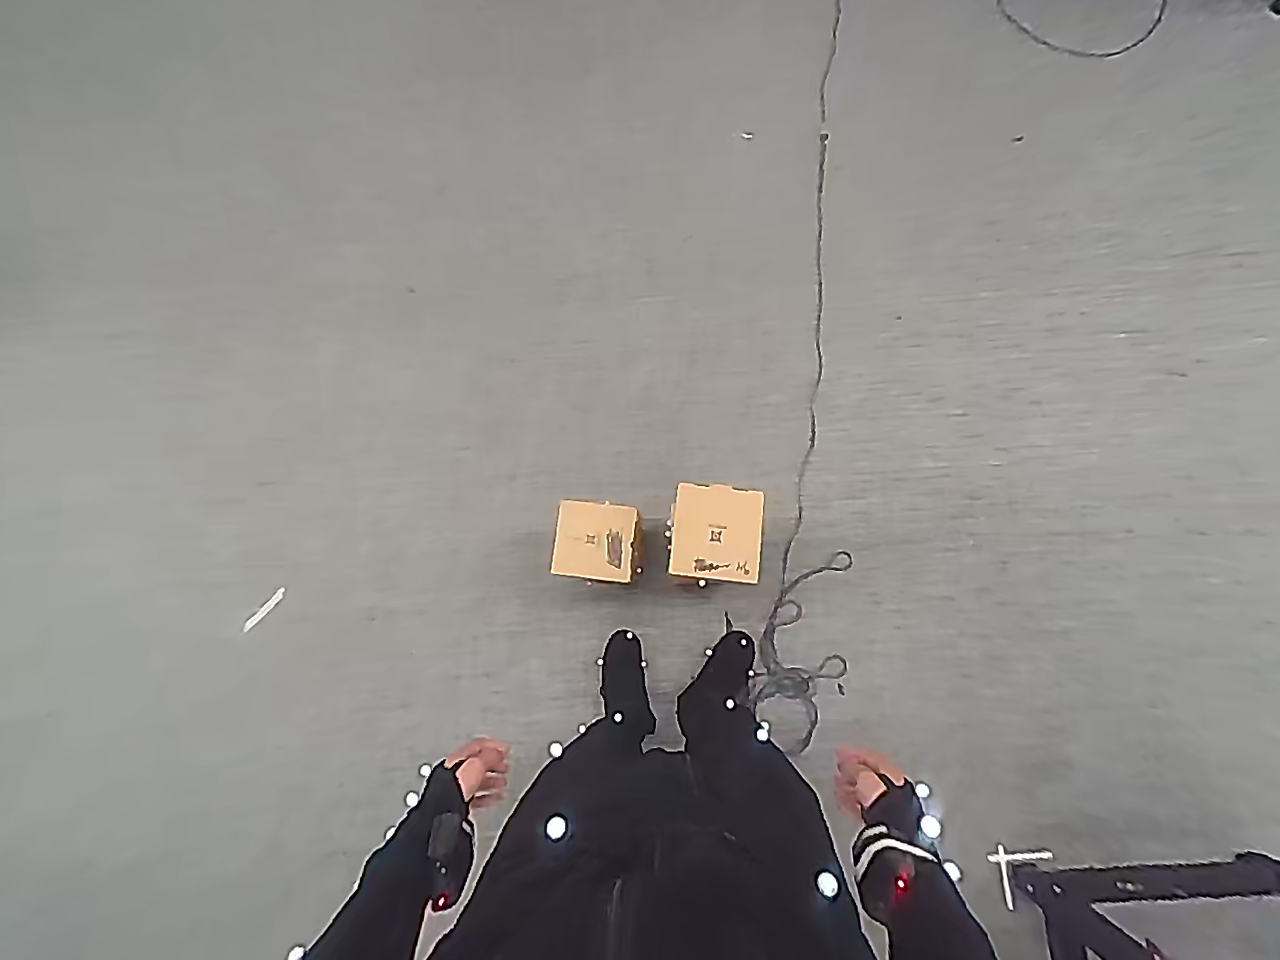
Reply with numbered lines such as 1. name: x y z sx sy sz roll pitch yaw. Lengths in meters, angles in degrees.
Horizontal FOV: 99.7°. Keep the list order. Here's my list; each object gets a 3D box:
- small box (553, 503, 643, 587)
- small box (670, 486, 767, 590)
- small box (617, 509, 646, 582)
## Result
1. small box: -0.089 0.155 1.256 0.179 0.176 0.168 6 78 5
2. small box: 0.151 0.122 1.086 0.168 0.176 0.179 6 78 5
3. small box: -0.074 0.174 1.419 0.168 0.176 0.179 2 78 4
